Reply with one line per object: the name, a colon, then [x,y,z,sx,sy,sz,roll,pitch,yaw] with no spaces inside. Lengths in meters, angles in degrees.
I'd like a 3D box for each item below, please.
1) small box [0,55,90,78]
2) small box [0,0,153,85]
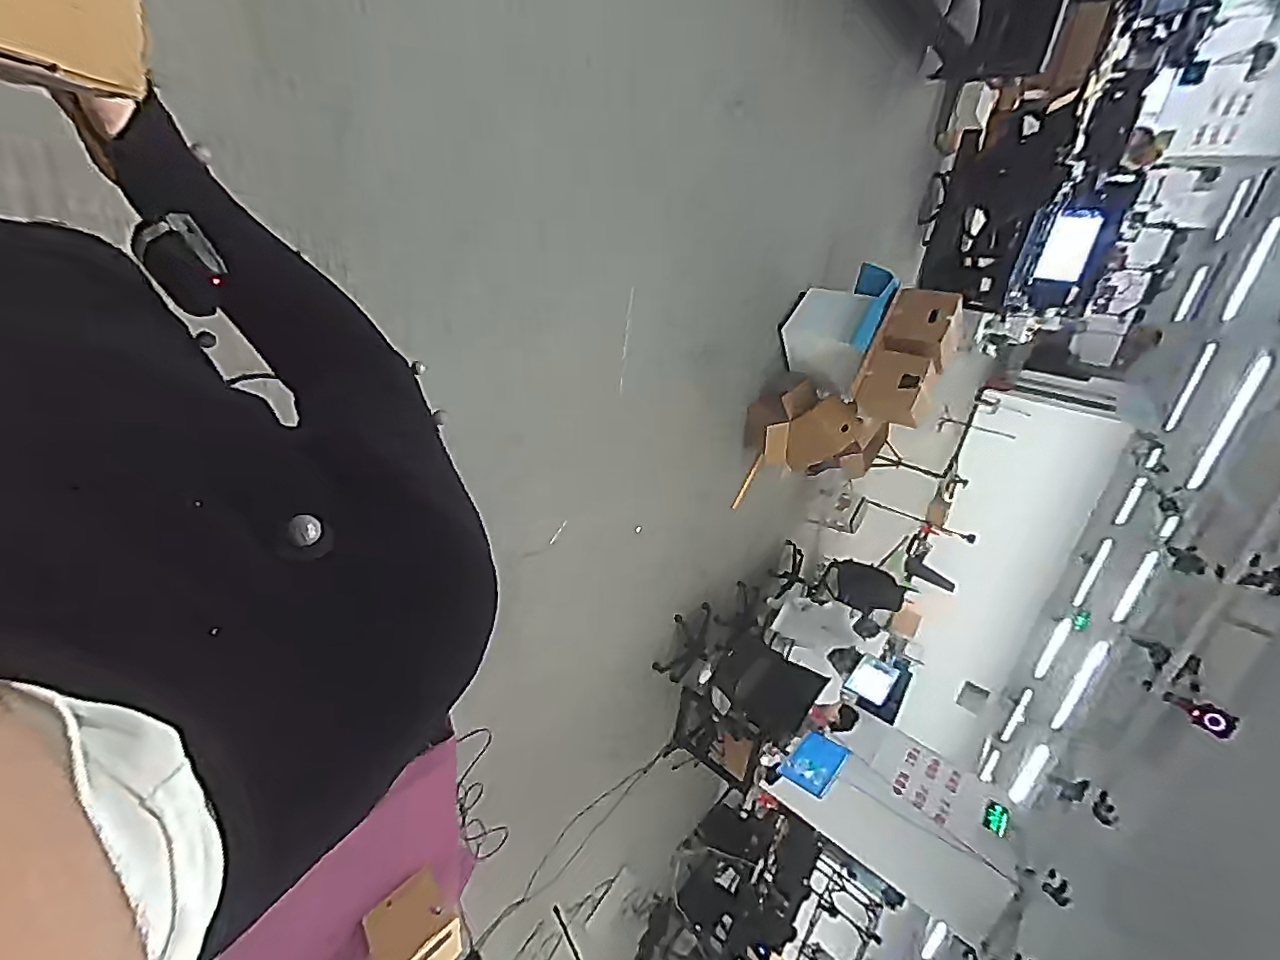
small box: [-0.446,-0.365,0.306,0.168,0.176,0.179,-10,123,-50]
small box: [-0.327,-0.293,0.219,0.168,0.176,0.179,-12,123,-49]
